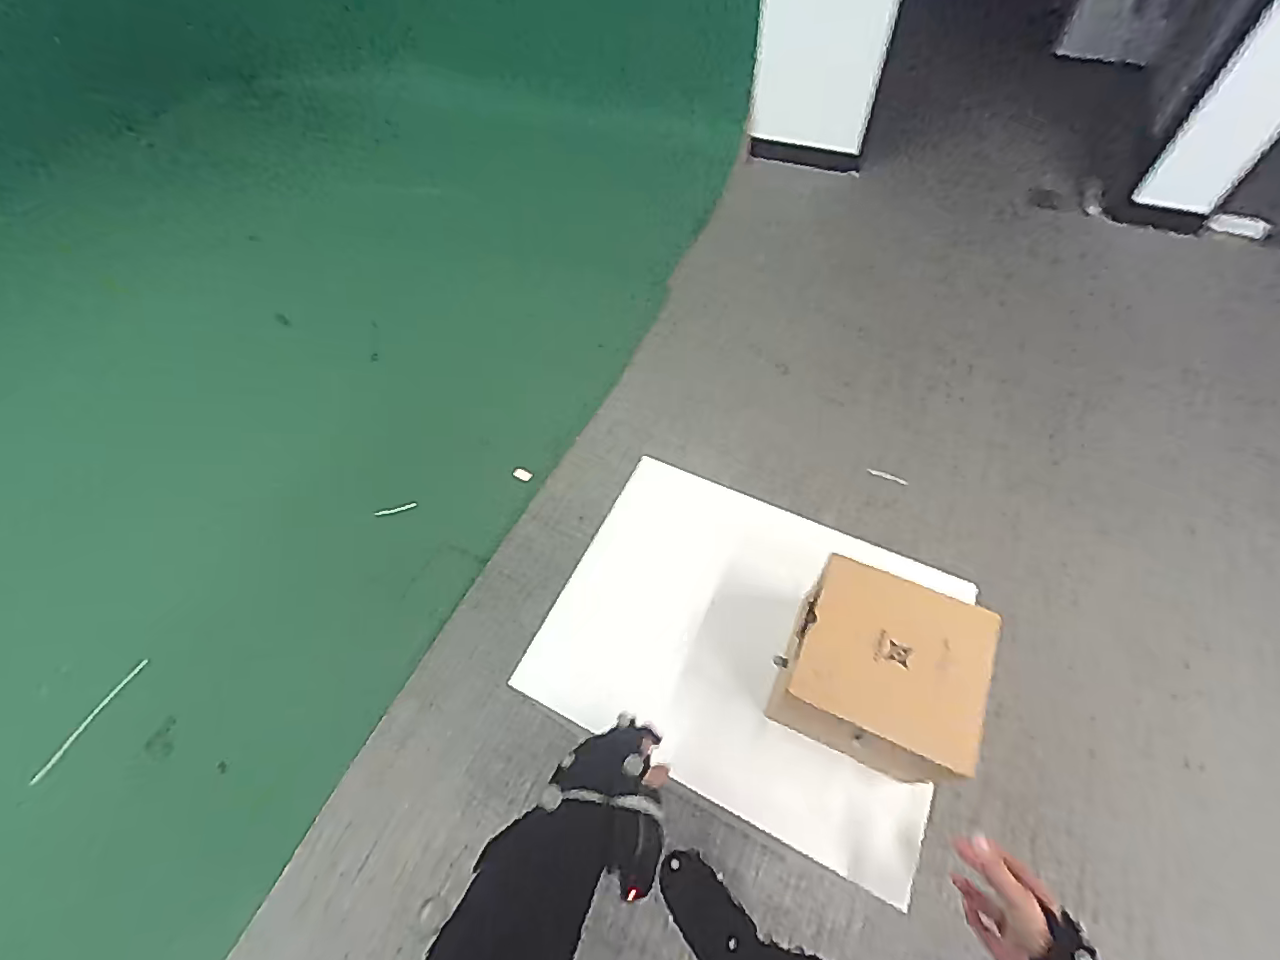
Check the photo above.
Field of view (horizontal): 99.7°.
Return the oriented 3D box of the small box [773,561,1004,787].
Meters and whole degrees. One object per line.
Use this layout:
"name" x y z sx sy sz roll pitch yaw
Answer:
"small box" 0.262 0.222 0.603 0.179 0.176 0.168 21 63 16
